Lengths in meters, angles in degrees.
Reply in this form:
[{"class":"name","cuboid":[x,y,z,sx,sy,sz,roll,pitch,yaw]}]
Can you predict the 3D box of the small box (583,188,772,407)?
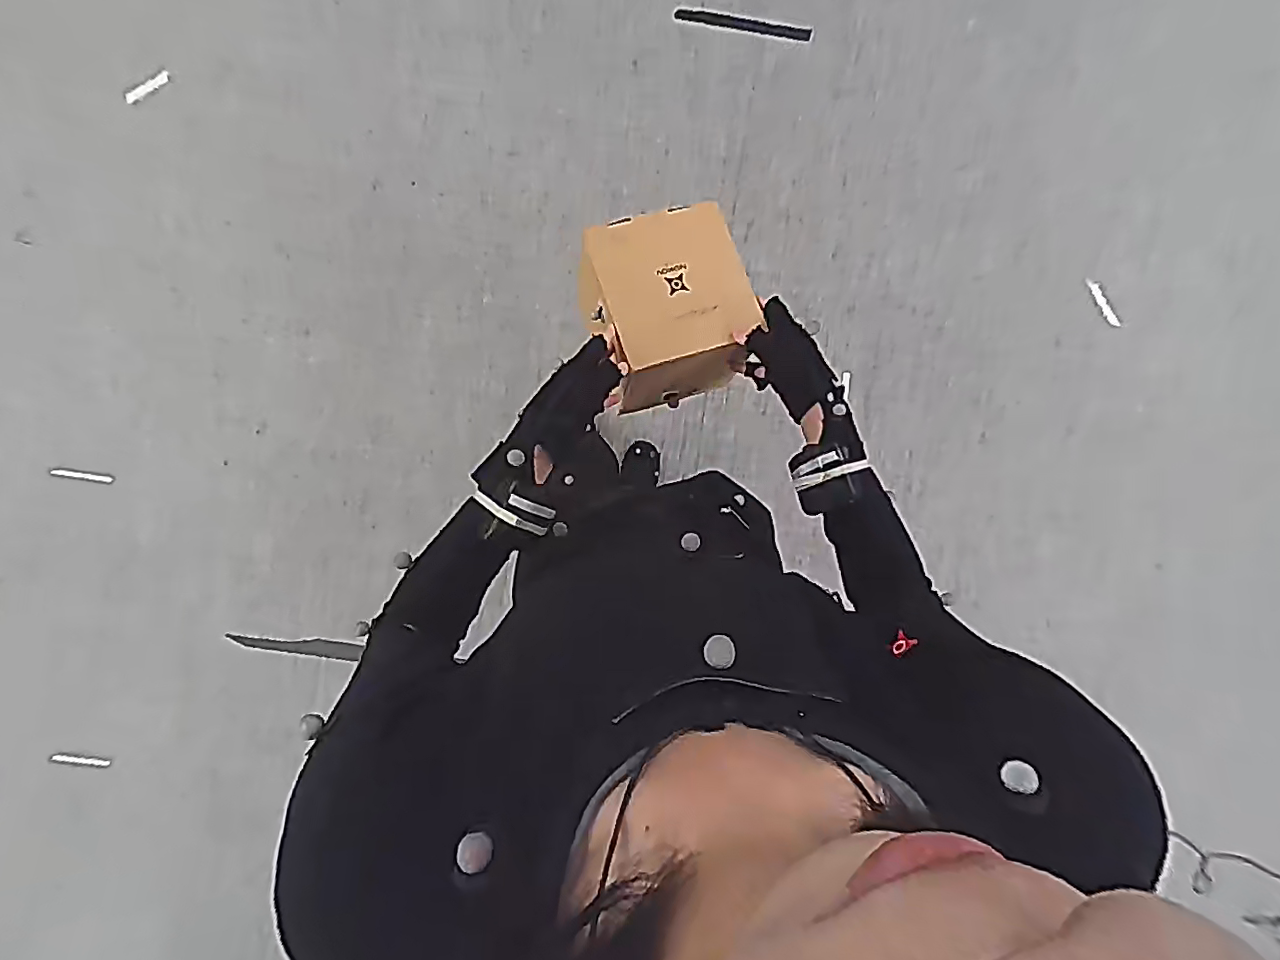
[{"class":"small box","cuboid":[0.031,-0.214,0.665,0.168,0.176,0.179,-18,82,-10]}]
